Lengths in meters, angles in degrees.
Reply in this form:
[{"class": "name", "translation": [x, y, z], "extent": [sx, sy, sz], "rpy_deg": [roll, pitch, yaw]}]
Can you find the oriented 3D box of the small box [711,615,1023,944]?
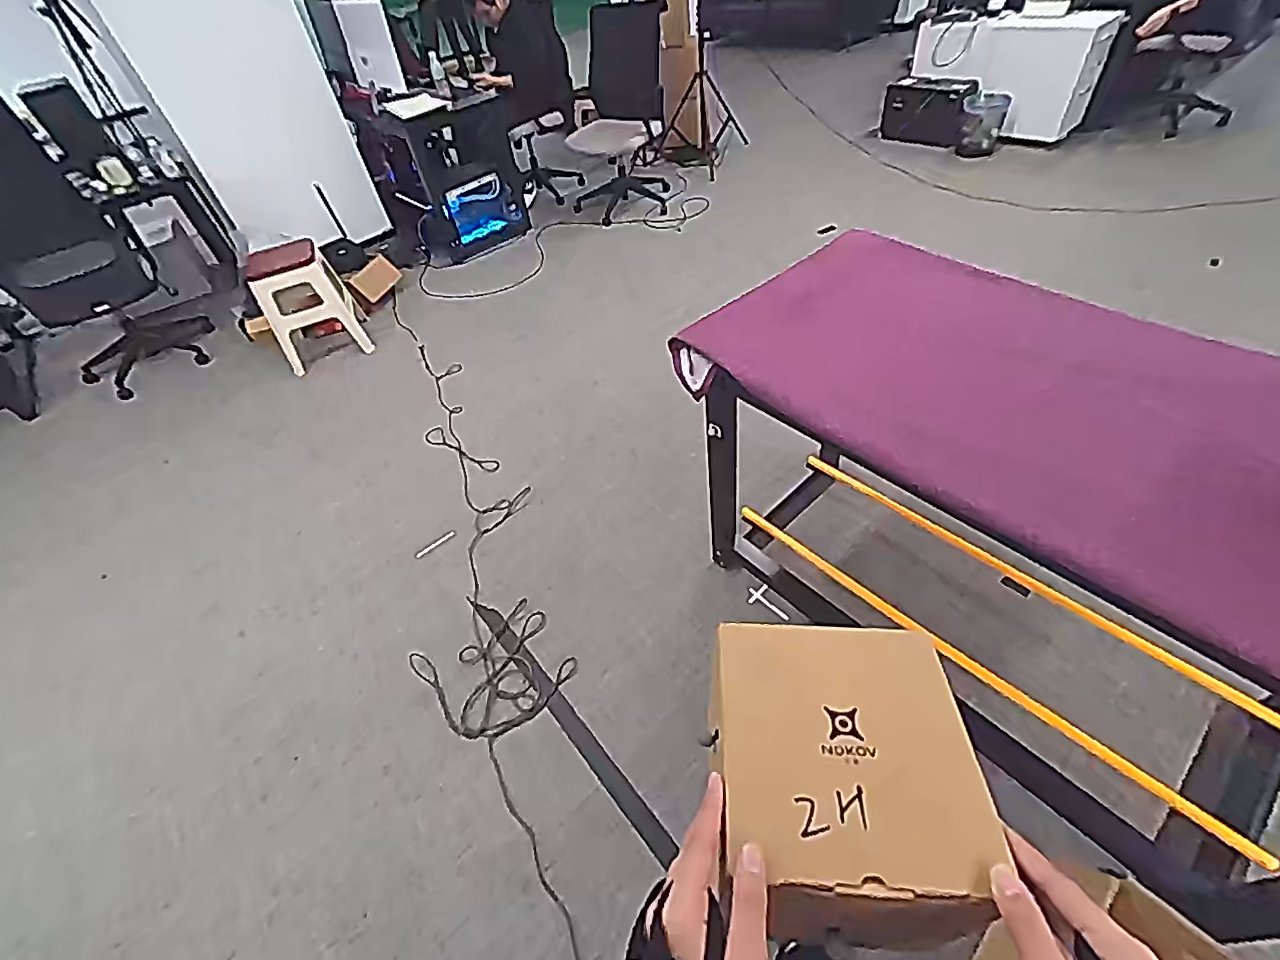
[{"class": "small box", "translation": [0.143, 0.230, 0.424], "extent": [0.168, 0.176, 0.179], "rpy_deg": [1, 42, 5]}]
